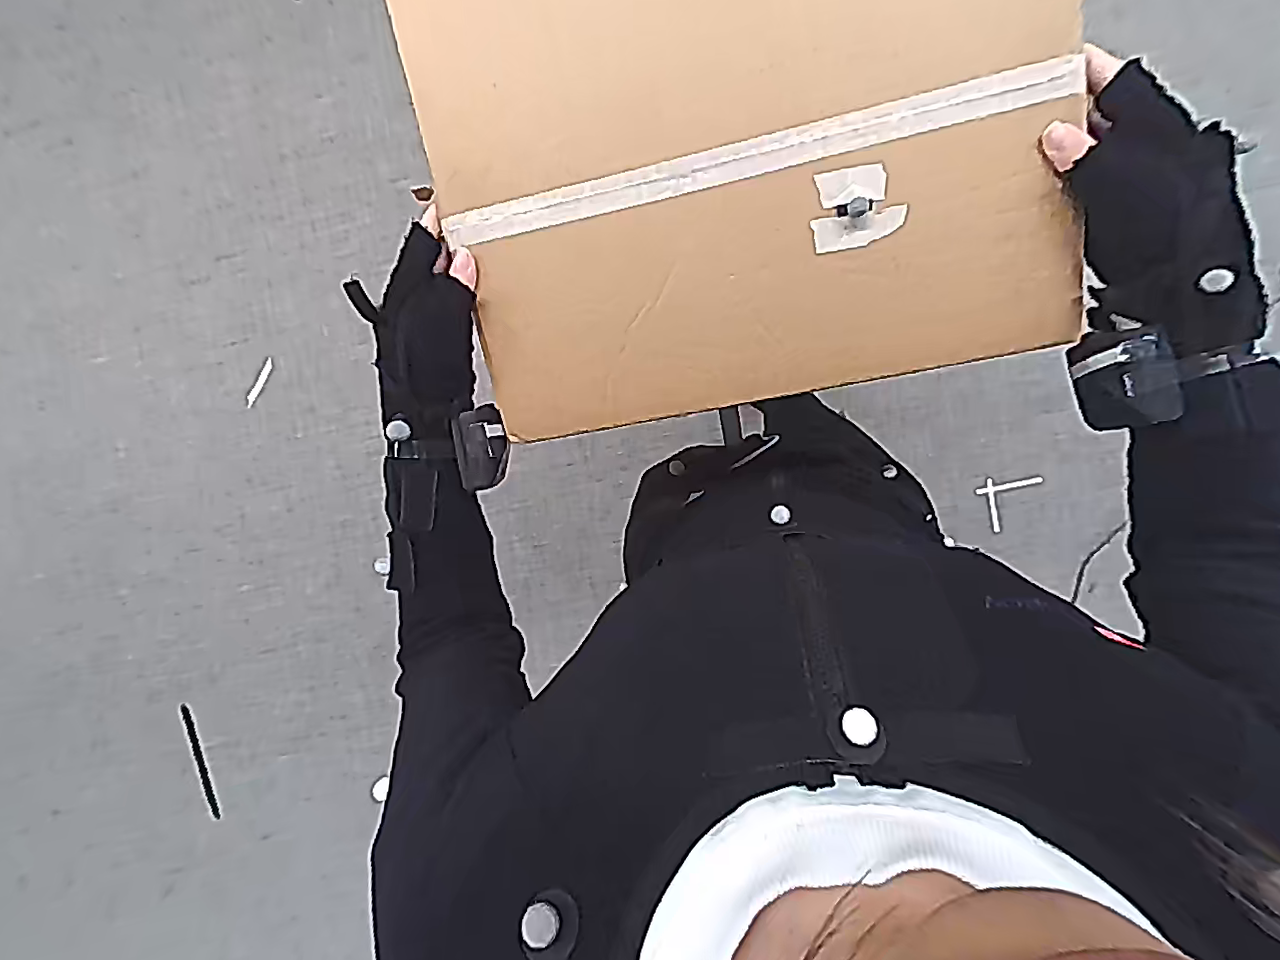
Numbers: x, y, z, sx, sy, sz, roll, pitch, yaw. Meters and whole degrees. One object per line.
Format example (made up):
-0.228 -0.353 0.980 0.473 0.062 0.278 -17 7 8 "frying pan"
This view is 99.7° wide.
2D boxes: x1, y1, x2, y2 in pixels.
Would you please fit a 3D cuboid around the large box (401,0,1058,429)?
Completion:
0.076 -0.260 0.506 0.408 0.320 0.320 -10 106 7 "large box"
